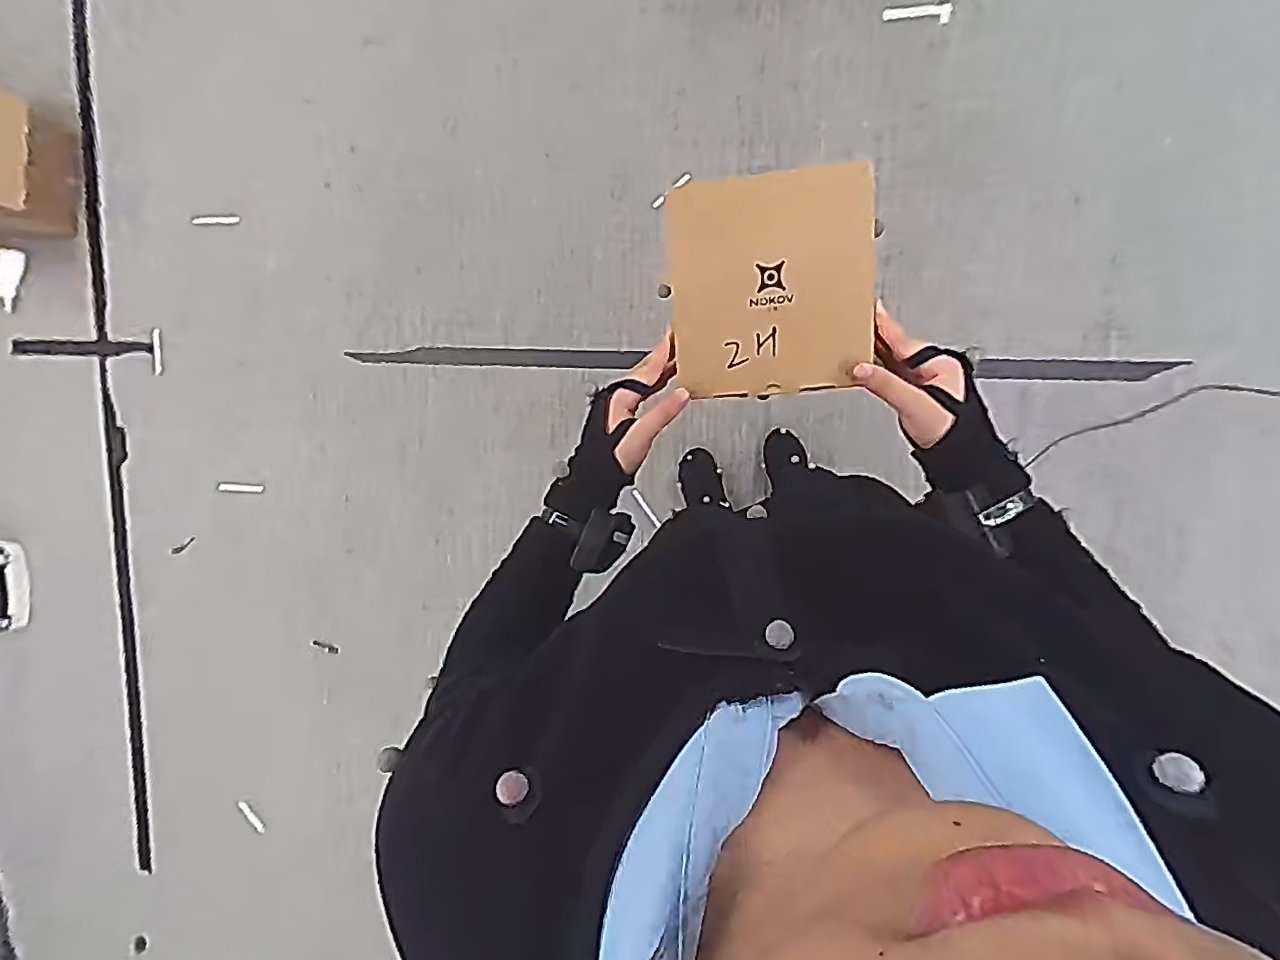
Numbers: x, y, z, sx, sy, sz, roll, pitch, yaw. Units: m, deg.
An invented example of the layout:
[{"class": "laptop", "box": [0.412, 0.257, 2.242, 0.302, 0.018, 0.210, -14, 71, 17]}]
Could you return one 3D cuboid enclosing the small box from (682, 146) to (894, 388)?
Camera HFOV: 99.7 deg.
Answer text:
[{"class": "small box", "box": [0.128, -0.185, 0.516, 0.168, 0.176, 0.179, -3, 103, 9]}]
